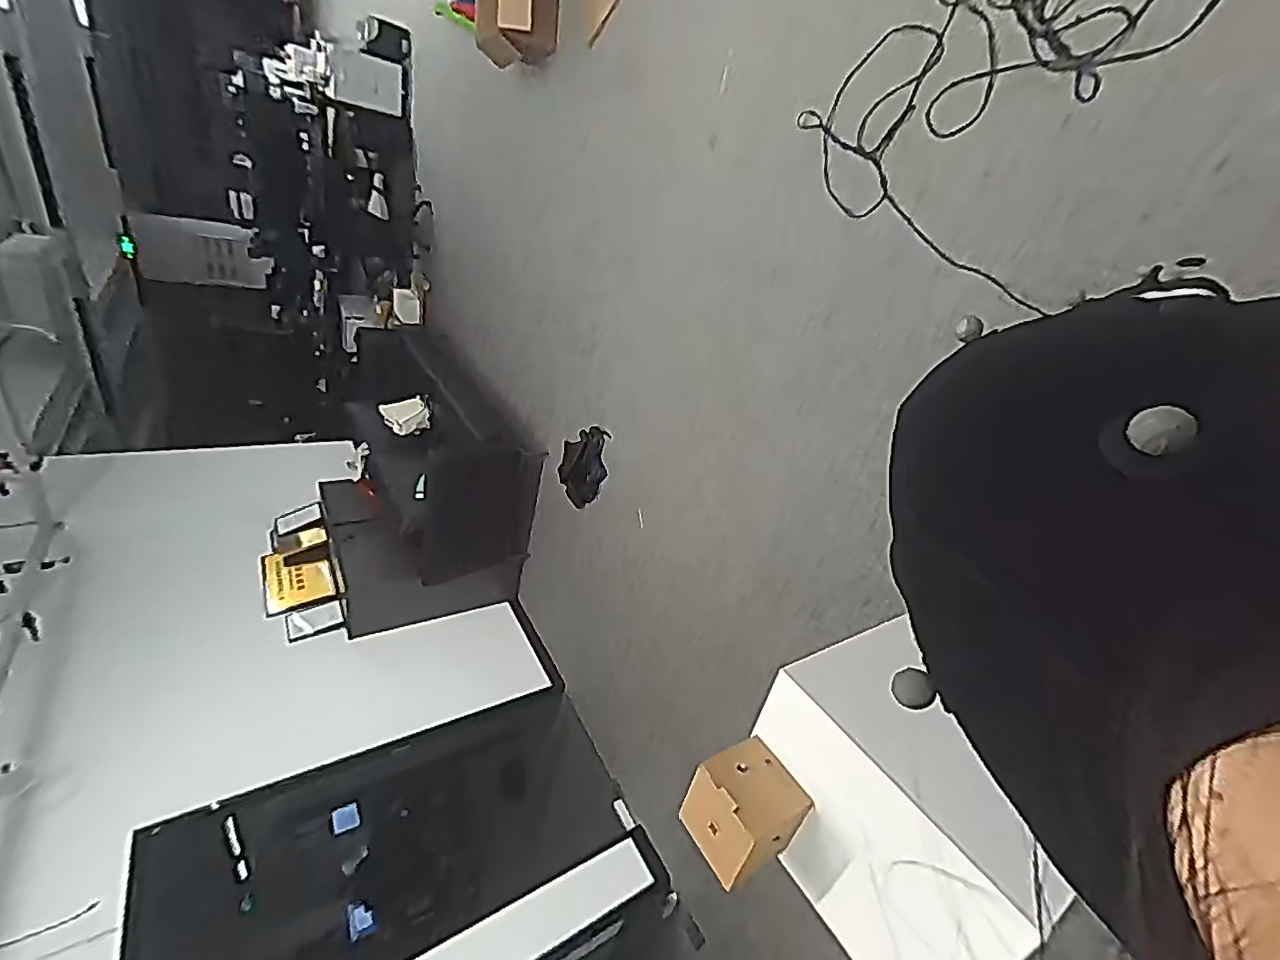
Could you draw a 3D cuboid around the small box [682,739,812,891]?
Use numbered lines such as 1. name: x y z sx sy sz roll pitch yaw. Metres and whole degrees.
1. small box: 0.215 0.661 1.087 0.168 0.176 0.179 43 130 44
